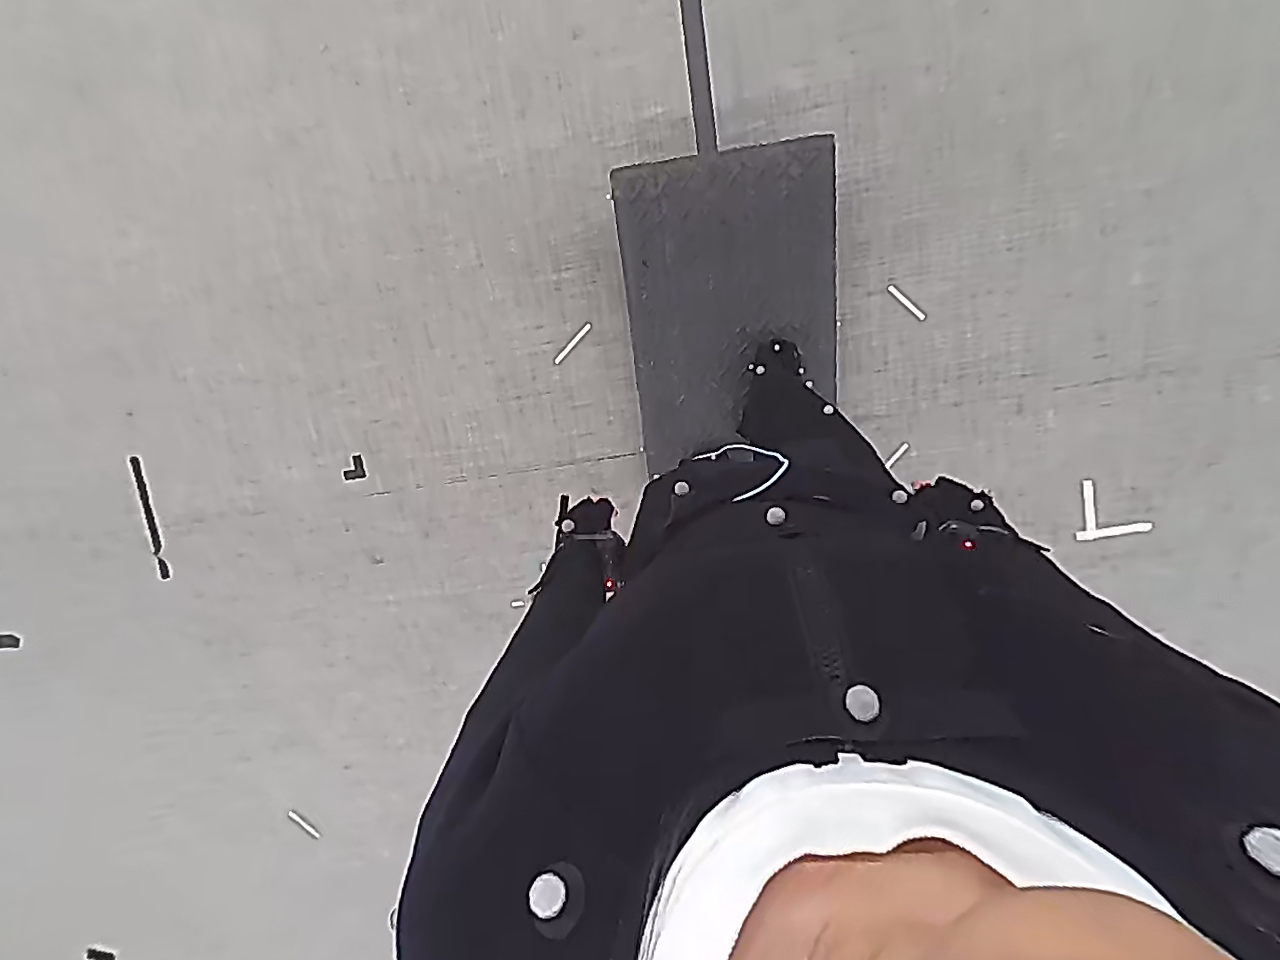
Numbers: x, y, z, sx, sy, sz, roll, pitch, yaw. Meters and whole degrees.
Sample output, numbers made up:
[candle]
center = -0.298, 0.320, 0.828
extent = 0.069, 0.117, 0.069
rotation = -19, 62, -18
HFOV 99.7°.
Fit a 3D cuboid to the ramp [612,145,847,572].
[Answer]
[ramp]
center = 0.253, -0.233, 1.358
extent = 0.509, 0.206, 0.991
rotation = -8, 98, 7
